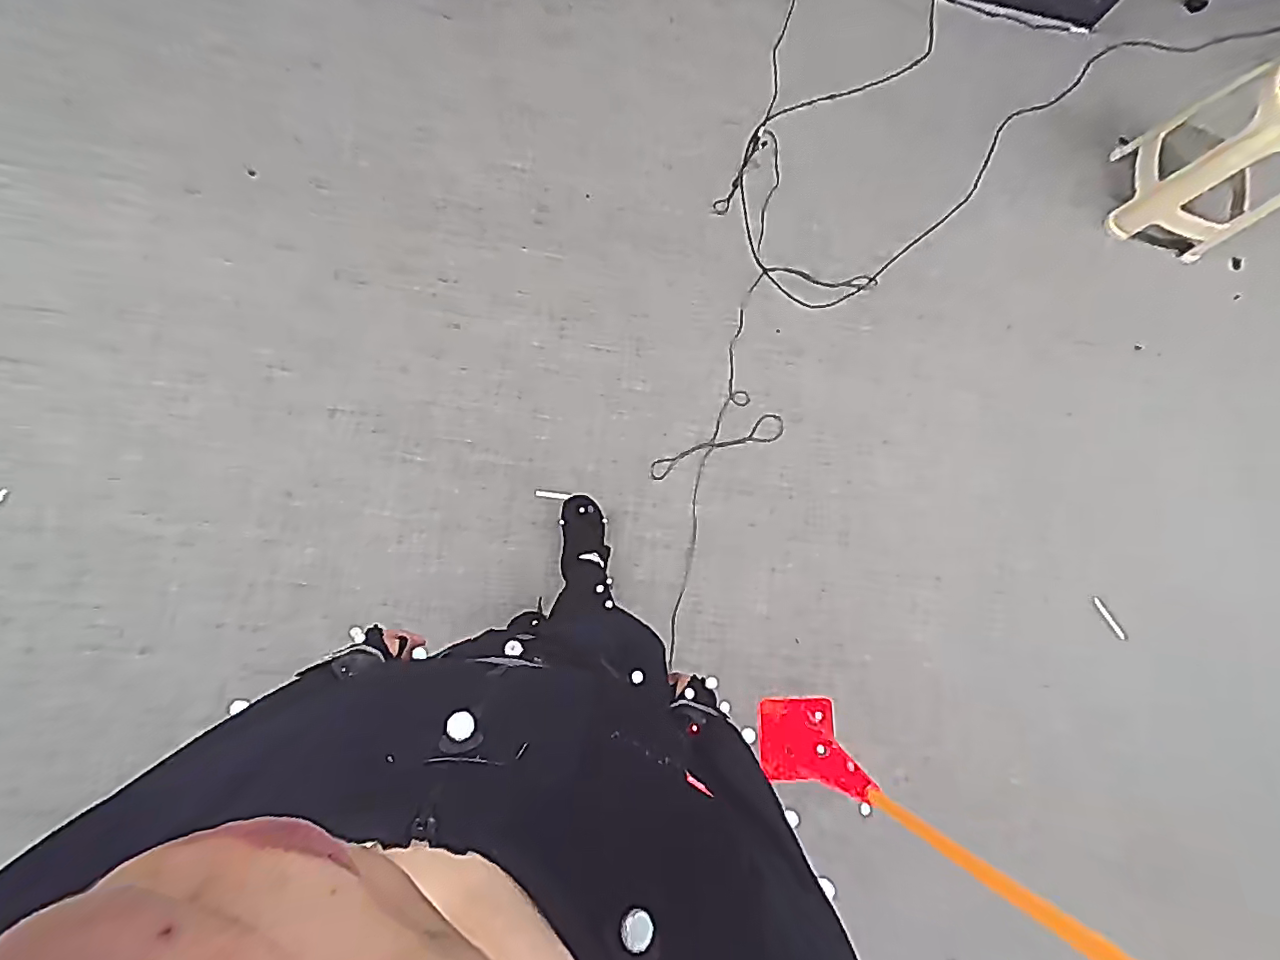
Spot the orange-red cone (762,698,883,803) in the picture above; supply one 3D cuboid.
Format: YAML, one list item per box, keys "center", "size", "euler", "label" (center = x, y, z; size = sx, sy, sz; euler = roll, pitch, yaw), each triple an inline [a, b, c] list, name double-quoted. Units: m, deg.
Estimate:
- center: [0.425, 0.628, 1.202]
  size: [0.199, 0.360, 0.198]
  euler: [2, 80, -6]
  label: "orange-red cone"
